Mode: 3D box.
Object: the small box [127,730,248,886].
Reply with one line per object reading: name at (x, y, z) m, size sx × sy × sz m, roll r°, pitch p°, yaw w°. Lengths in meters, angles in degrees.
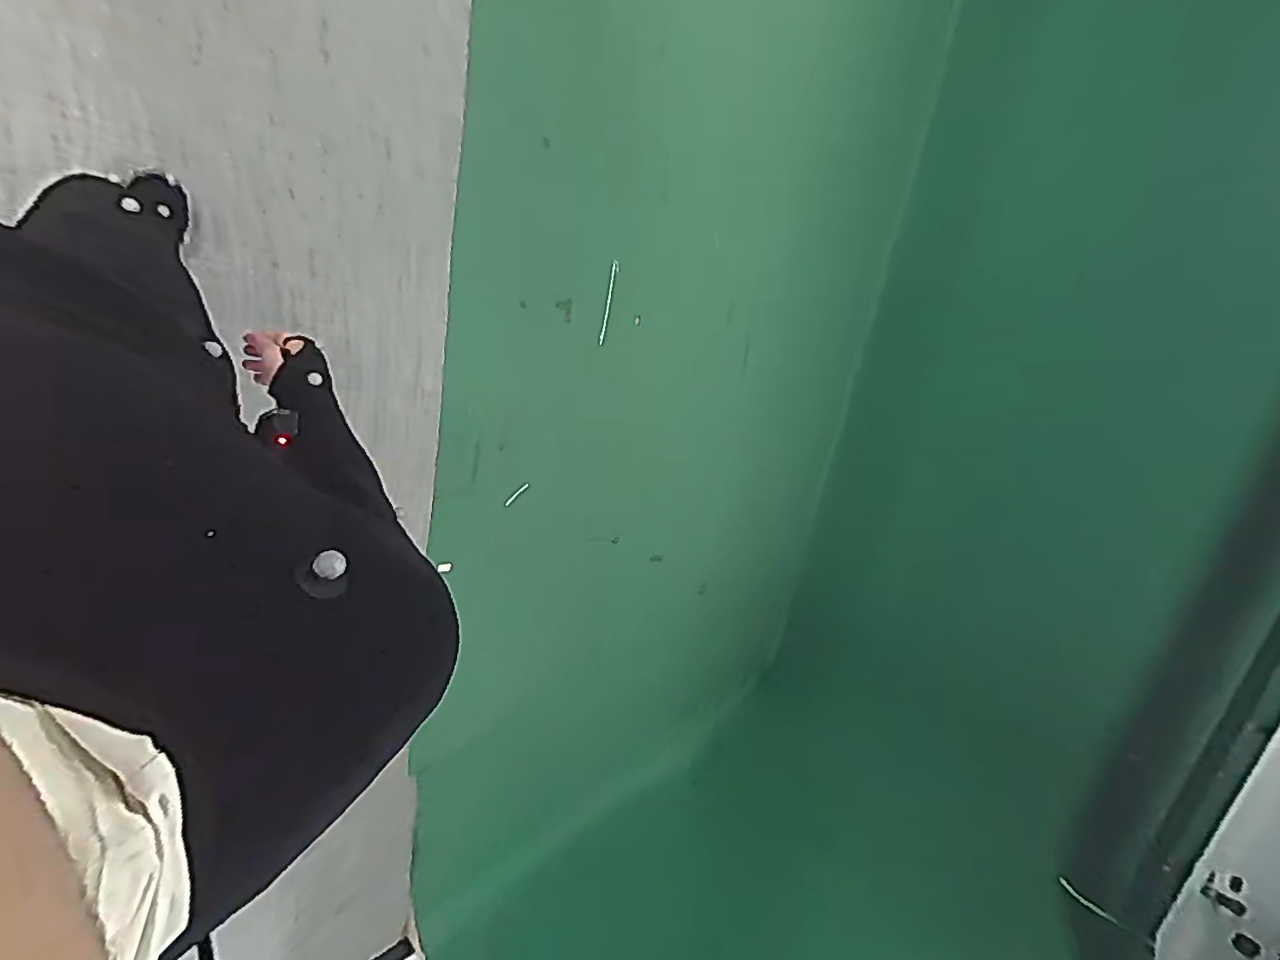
small box at (-0.924, 0.655, 1.103) m, size 0.168 × 0.176 × 0.179 m, roll -3°, pitch 111°, yaw -48°
